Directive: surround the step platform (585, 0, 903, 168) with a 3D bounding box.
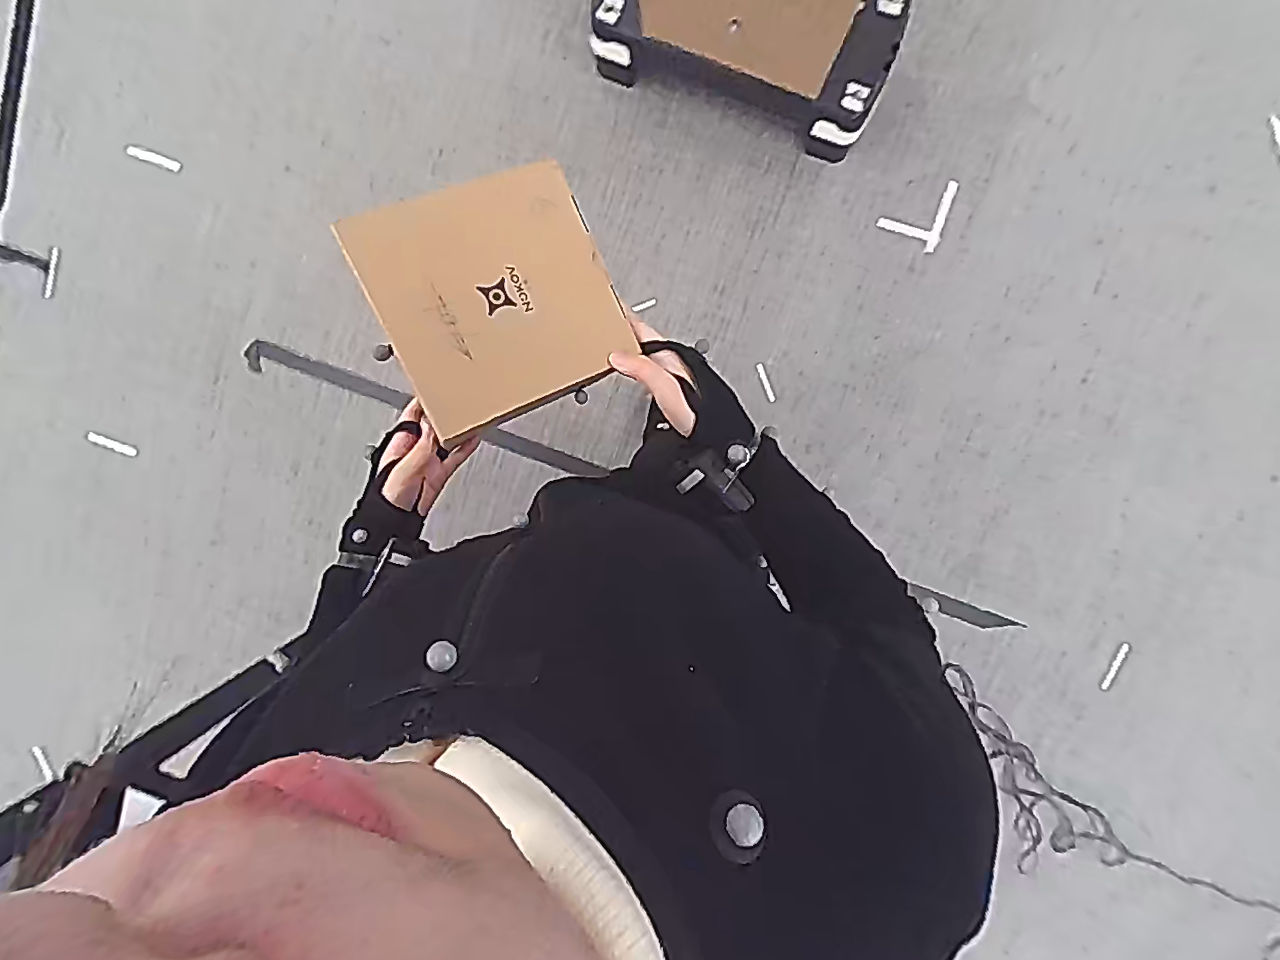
[{"bbox_3d":[0.221,-1.015,1.229,0.684,0.204,0.286,26,98,1],"label":"step platform"}]

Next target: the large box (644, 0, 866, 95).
[{"bbox_3d":[0.240,-0.999,0.989,0.408,0.320,0.320,21,98,2],"label":"large box"}]
